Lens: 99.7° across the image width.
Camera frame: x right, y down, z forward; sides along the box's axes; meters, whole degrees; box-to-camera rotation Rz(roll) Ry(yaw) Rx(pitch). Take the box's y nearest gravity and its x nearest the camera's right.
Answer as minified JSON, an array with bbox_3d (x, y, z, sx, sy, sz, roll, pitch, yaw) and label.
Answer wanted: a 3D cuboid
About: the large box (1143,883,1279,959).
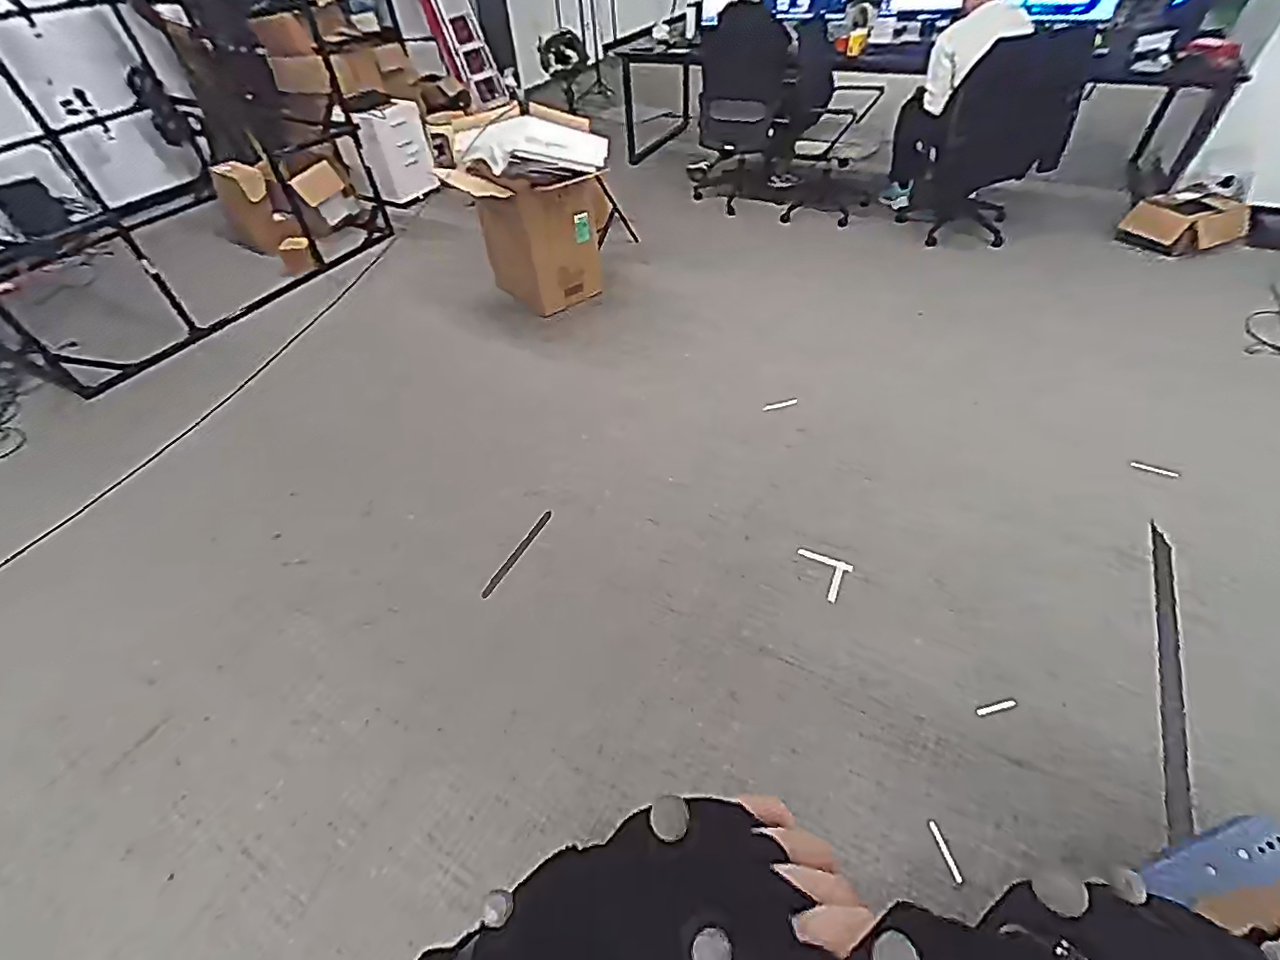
[{"bbox_3d":[0.980,0.850,0.723,0.320,0.320,0.408,-26,51,-17],"label":"large box"}]
